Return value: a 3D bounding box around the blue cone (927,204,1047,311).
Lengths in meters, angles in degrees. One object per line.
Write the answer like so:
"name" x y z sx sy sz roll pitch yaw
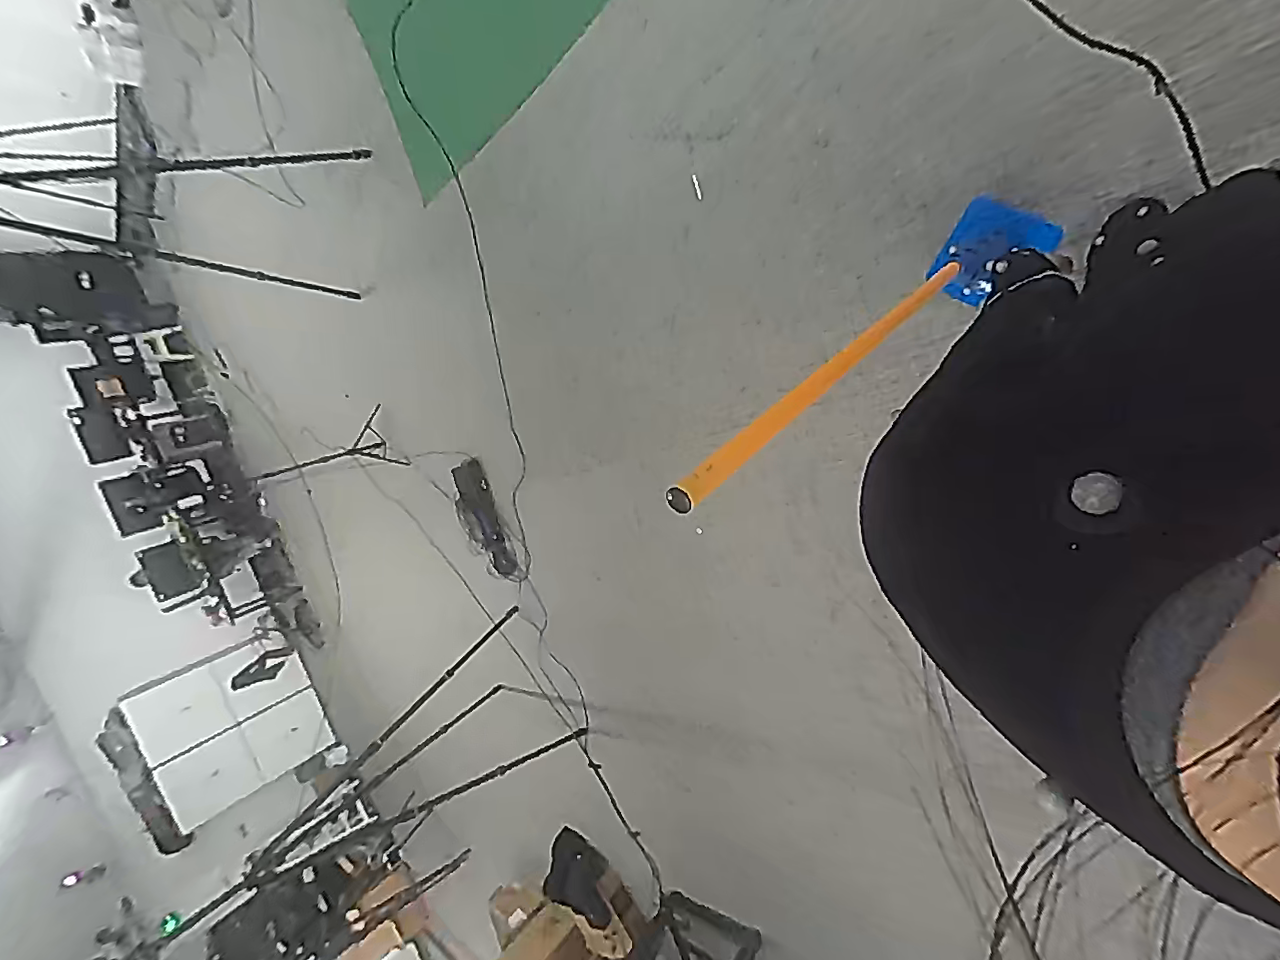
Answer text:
"blue cone" 0.658 -0.431 1.081 0.192 0.380 0.193 37 131 23
